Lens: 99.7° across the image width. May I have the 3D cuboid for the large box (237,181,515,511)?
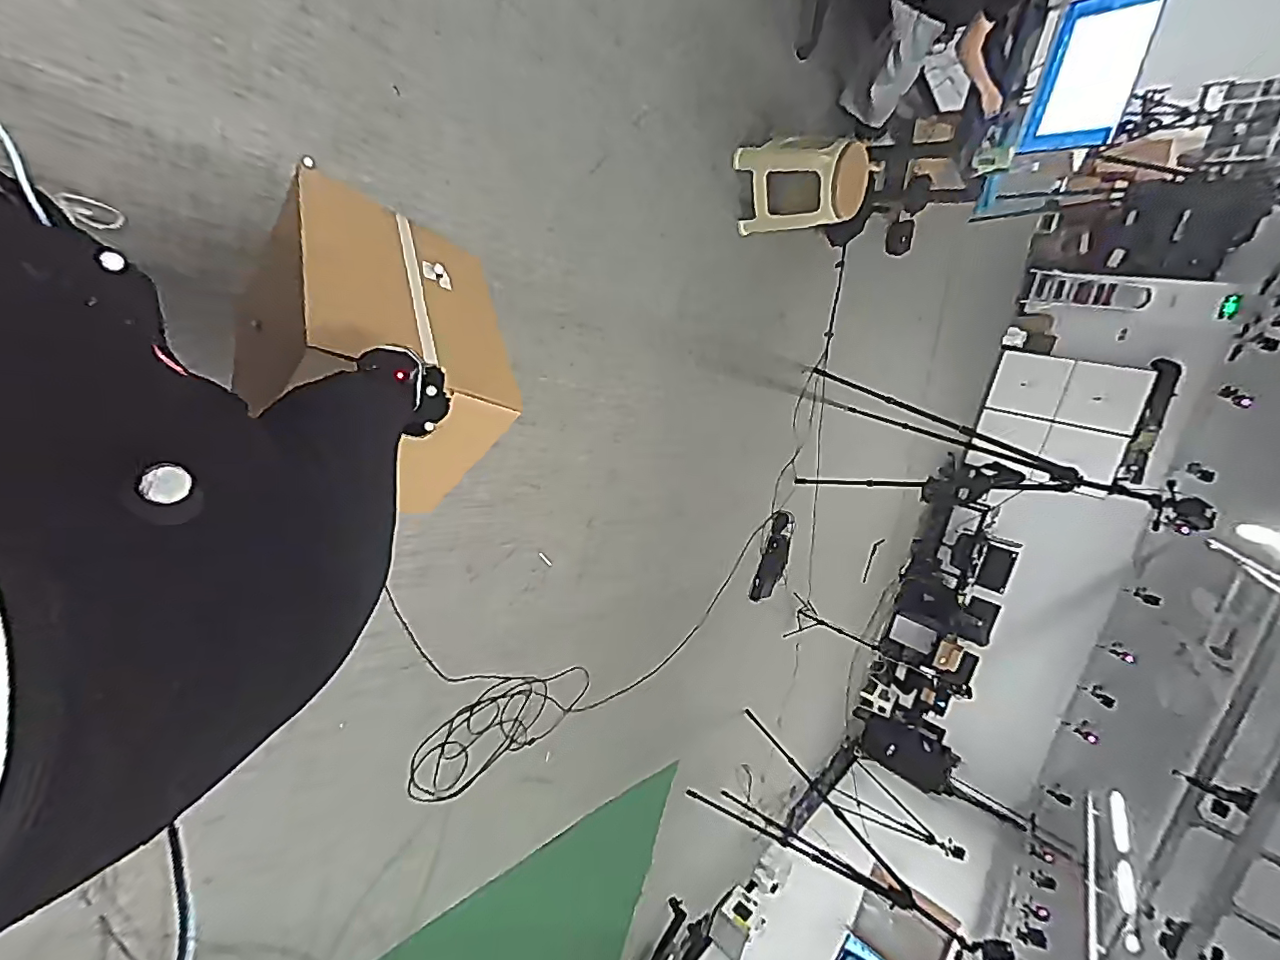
[{"bbox_3d":[-0.469,-0.201,0.931,0.320,0.408,0.320,-41,146,28],"label":"large box"}]
